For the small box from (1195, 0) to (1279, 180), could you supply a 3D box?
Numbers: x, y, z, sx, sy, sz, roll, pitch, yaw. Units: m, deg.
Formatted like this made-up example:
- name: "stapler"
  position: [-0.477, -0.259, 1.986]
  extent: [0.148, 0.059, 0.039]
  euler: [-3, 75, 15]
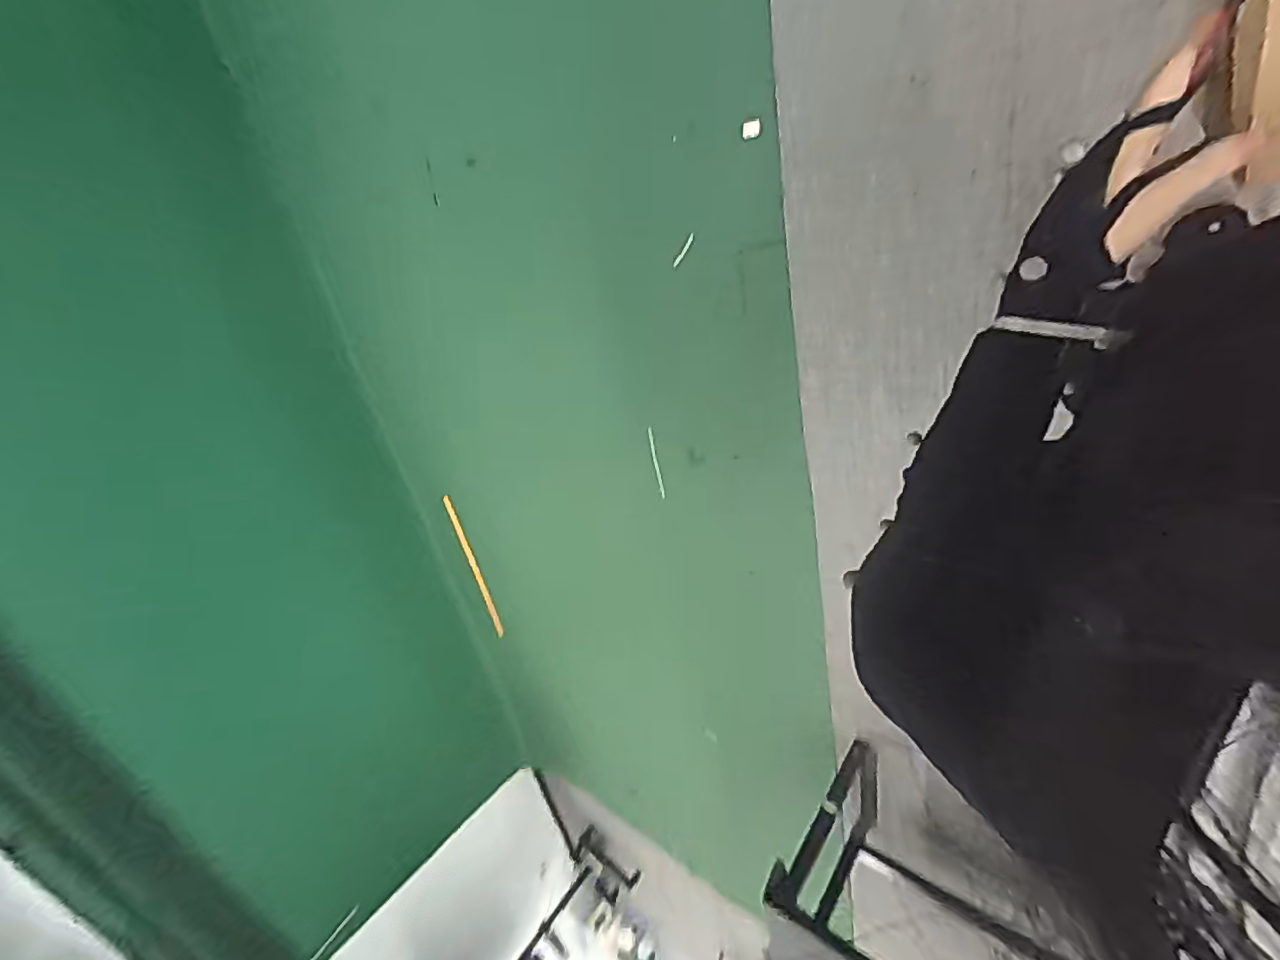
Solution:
- name: "small box"
  position: [0.415, -0.300, 0.273]
  extent: [0.168, 0.176, 0.179]
  euler: [-6, 134, 38]
